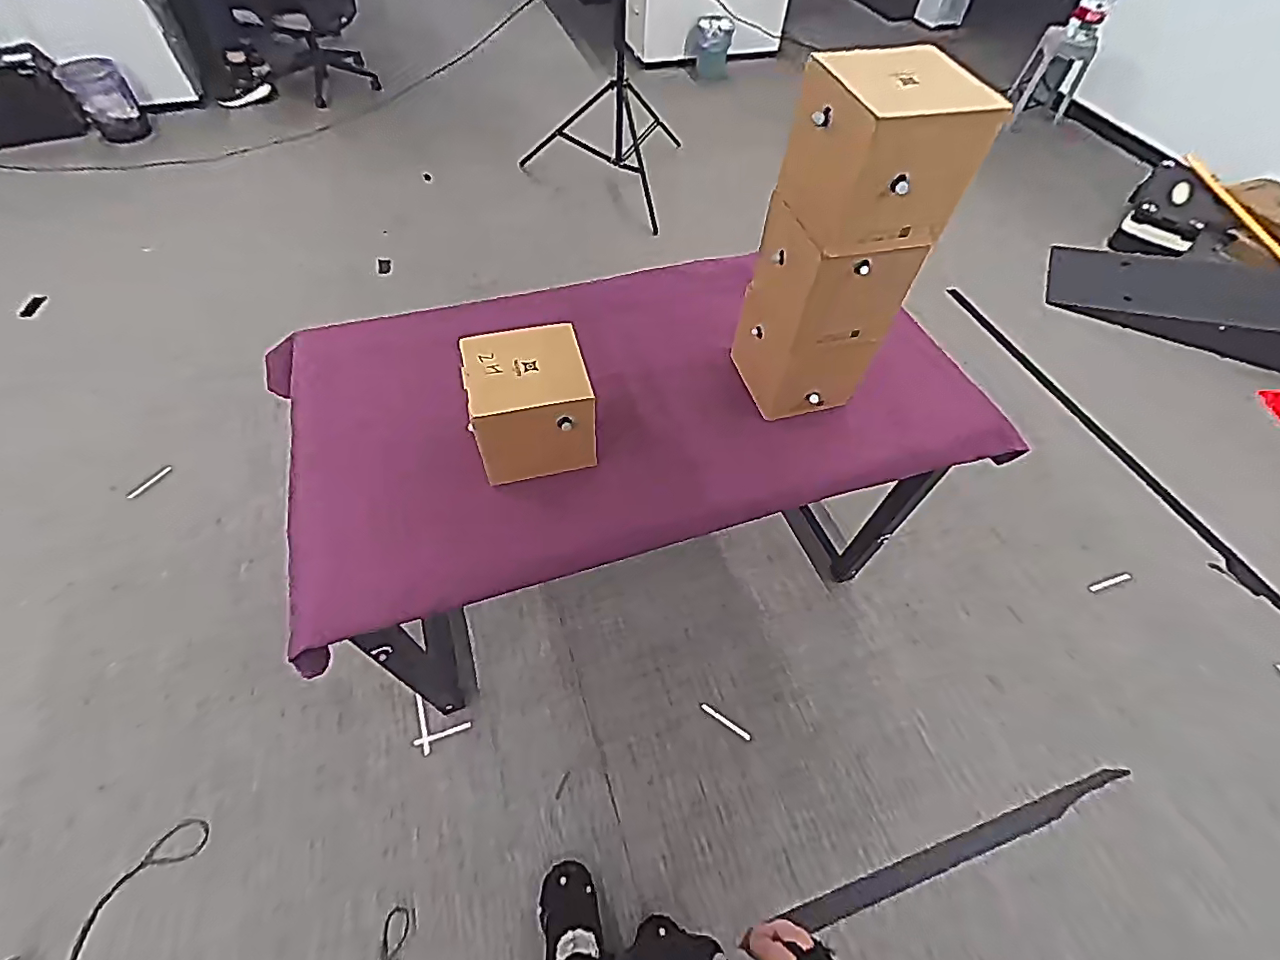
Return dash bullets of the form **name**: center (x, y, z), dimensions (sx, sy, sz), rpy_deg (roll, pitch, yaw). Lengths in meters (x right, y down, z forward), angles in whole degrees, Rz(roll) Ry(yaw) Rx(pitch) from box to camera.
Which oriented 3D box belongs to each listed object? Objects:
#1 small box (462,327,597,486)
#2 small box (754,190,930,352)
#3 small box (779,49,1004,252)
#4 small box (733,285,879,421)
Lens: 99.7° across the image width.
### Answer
- **small box**: center (-0.169, -0.113, 0.856), dimensions (0.179, 0.176, 0.168), rpy_deg (-12, 57, -11)
- **small box**: center (0.288, -0.321, 0.823), dimensions (0.168, 0.176, 0.179), rpy_deg (-11, 56, -9)
- **small box**: center (0.297, -0.408, 0.685), dimensions (0.168, 0.176, 0.179), rpy_deg (-11, 57, -9)
- **small box**: center (0.280, -0.233, 0.961), dimensions (0.168, 0.176, 0.179), rpy_deg (-13, 58, -11)
